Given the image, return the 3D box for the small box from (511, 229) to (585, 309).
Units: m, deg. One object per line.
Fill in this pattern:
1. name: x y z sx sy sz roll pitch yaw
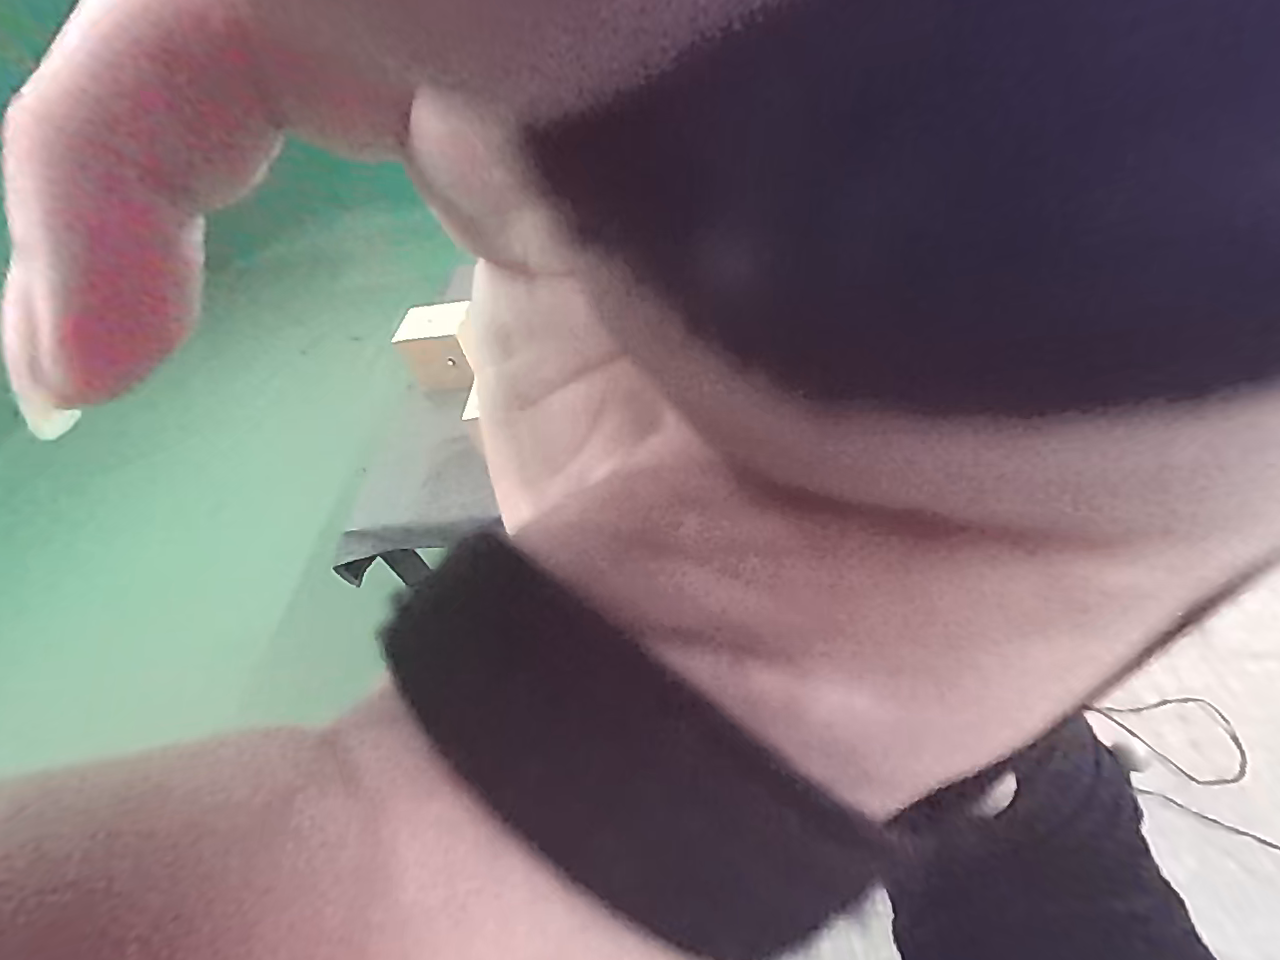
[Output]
1. small box: -0.279 -0.659 1.695 0.179 0.176 0.168 -4 47 9

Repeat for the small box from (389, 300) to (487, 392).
1. small box: -0.531 -0.357 1.454 0.179 0.176 0.168 -6 46 7

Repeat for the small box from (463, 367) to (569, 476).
1. small box: -0.265 -0.127 1.207 0.179 0.176 0.168 -6 46 7
